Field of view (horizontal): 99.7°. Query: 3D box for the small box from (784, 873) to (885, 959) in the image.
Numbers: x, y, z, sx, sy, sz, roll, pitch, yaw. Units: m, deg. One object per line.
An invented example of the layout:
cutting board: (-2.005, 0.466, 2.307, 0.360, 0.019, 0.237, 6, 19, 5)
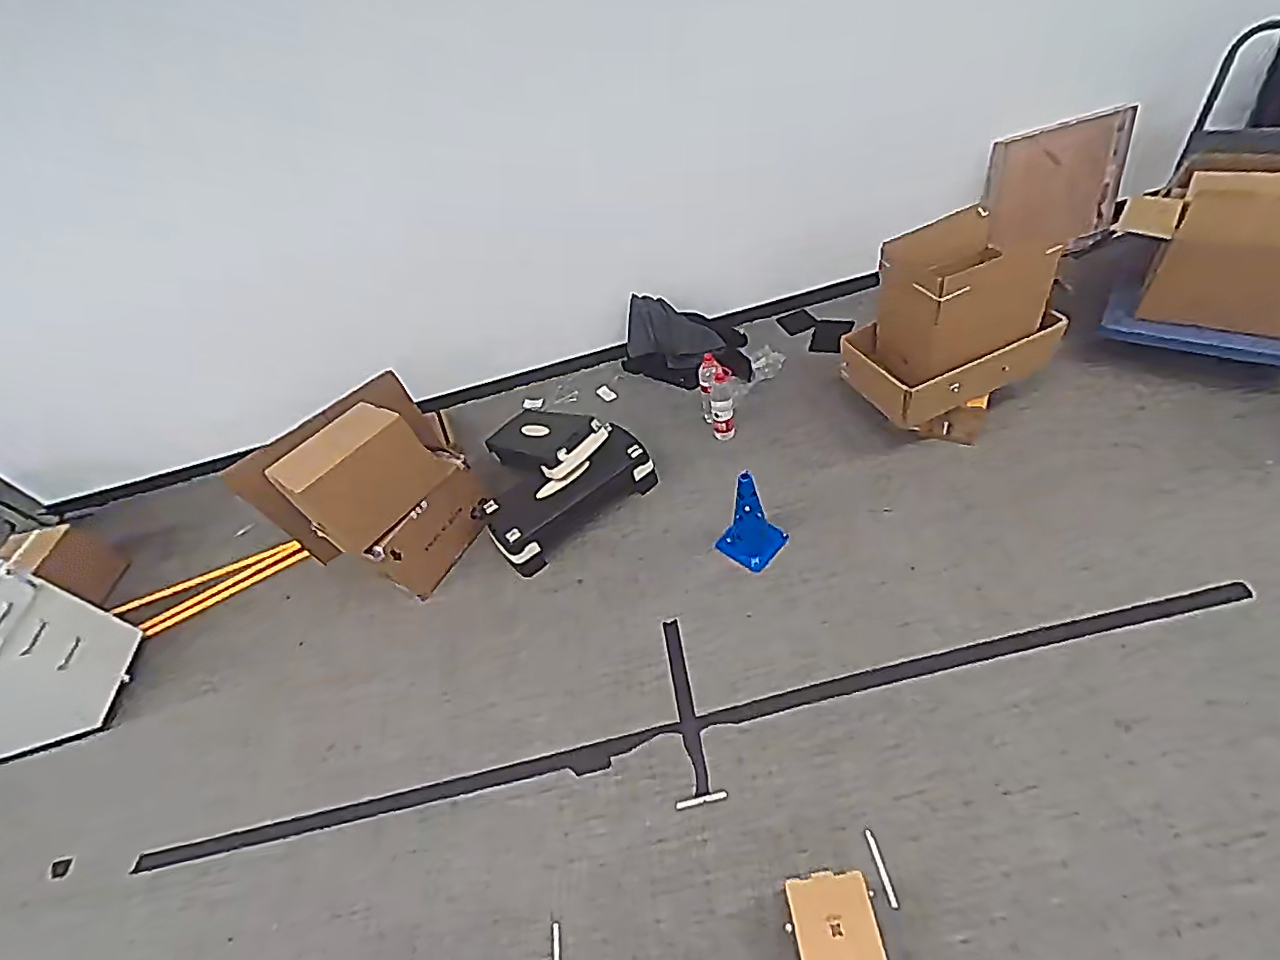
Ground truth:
small box: (0.416, 0.967, 1.159, 0.168, 0.176, 0.179, -12, 46, 6)
